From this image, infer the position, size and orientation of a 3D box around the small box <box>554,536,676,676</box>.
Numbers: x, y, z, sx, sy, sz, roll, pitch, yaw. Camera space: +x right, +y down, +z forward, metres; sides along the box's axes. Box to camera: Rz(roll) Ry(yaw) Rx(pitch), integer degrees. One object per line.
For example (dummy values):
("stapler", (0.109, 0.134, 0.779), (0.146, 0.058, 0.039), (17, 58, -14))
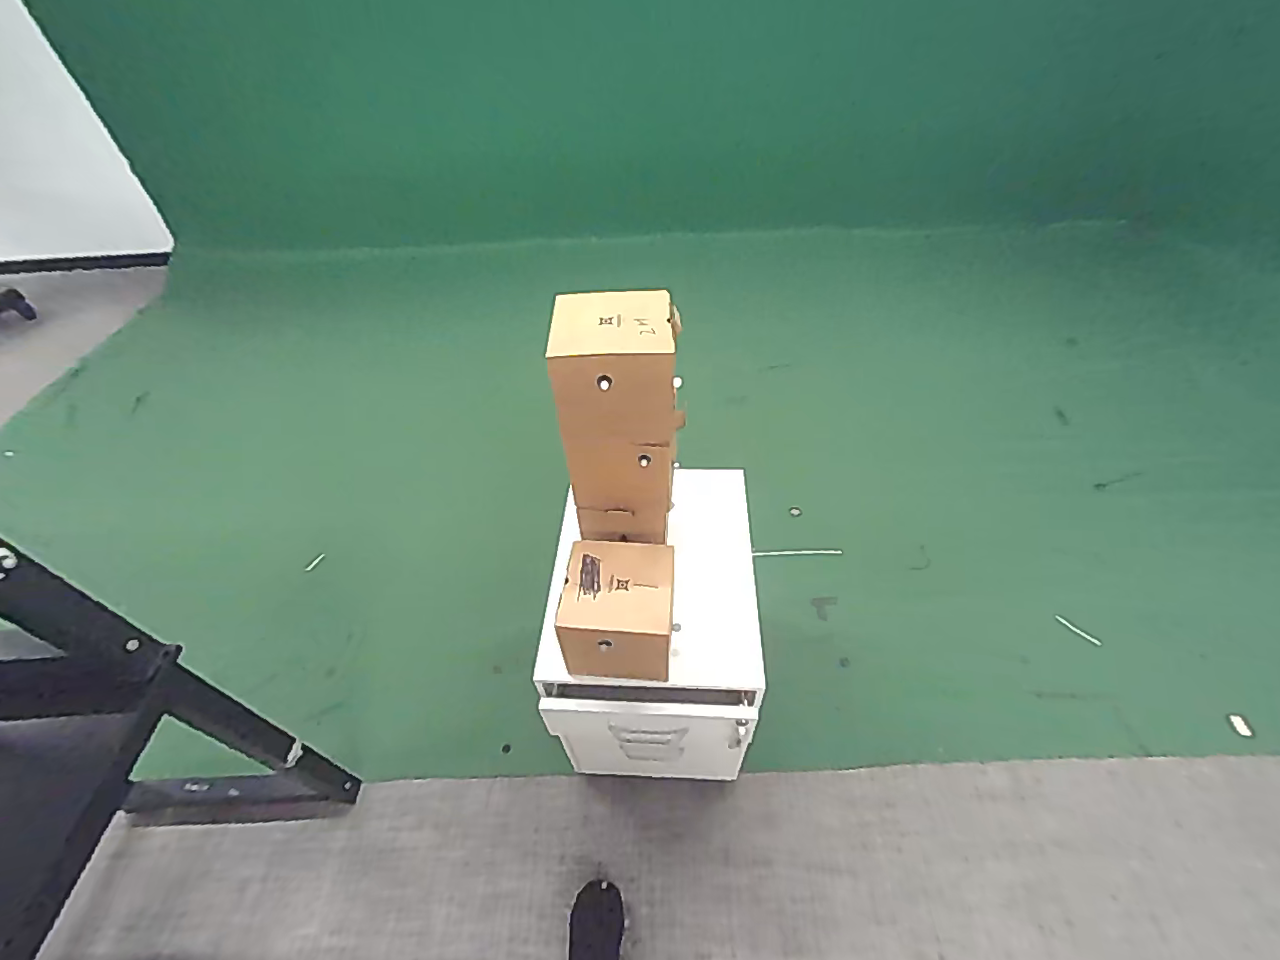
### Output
("small box", (-0.033, 0.213, 0.905), (0.179, 0.176, 0.168), (3, 47, 5))

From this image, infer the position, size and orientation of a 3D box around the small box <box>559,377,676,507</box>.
("small box", (-0.030, -0.068, 0.946), (0.179, 0.176, 0.168), (4, 48, 5))

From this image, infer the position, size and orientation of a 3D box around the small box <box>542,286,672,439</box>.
("small box", (-0.042, -0.175, 0.821), (0.179, 0.176, 0.168), (-2, 48, 0))
